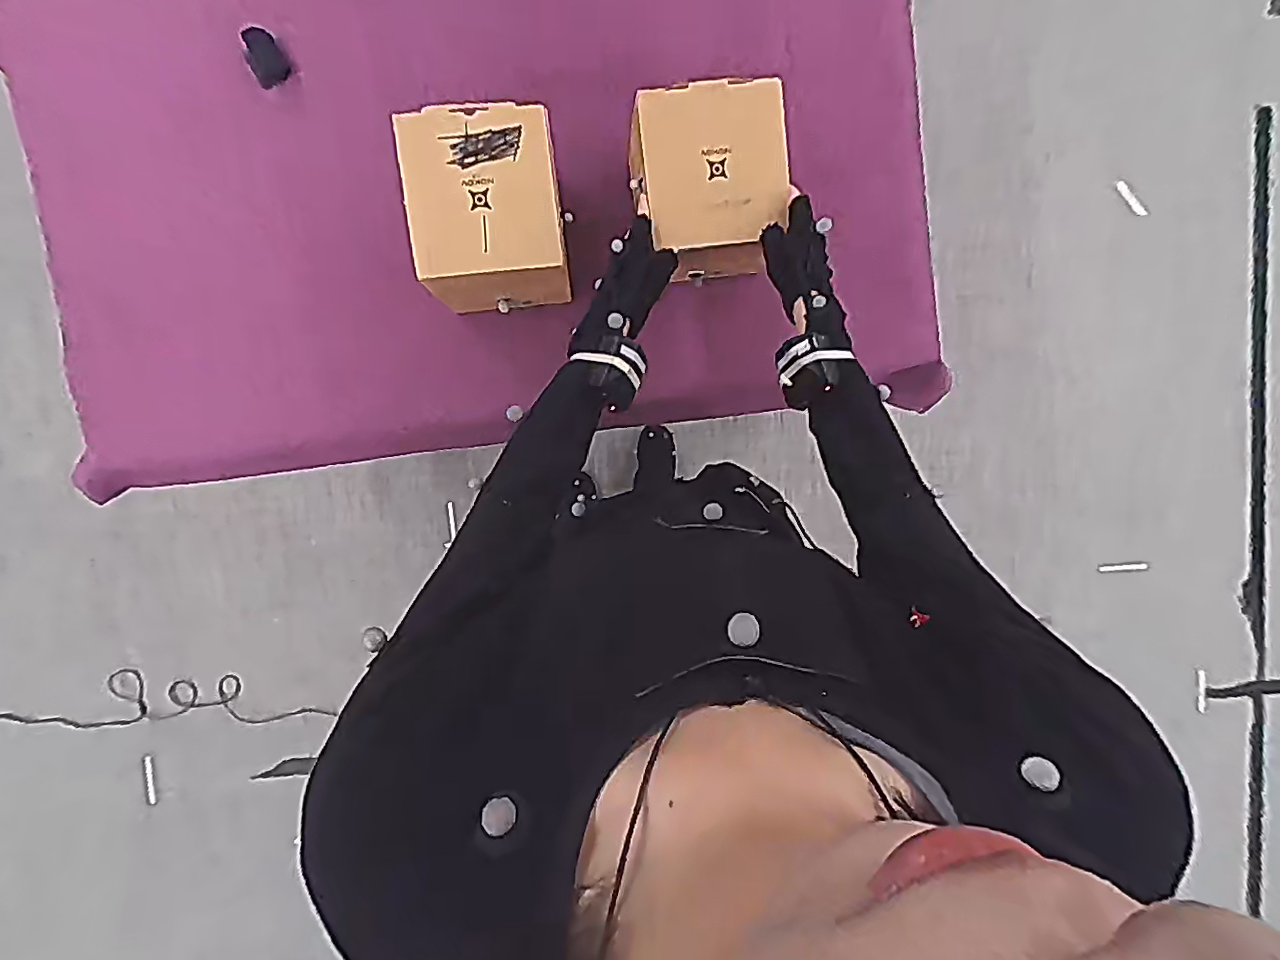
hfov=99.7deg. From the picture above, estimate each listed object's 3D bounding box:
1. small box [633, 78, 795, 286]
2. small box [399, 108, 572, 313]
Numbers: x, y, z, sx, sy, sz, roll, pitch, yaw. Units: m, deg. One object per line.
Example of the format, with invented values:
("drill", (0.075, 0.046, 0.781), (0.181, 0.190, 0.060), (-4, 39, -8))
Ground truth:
("small box", (0.084, -0.364, 0.690), (0.168, 0.176, 0.179), (-8, 97, -2))
("small box", (-0.178, -0.322, 0.675), (0.168, 0.176, 0.179), (-7, 95, -4))
